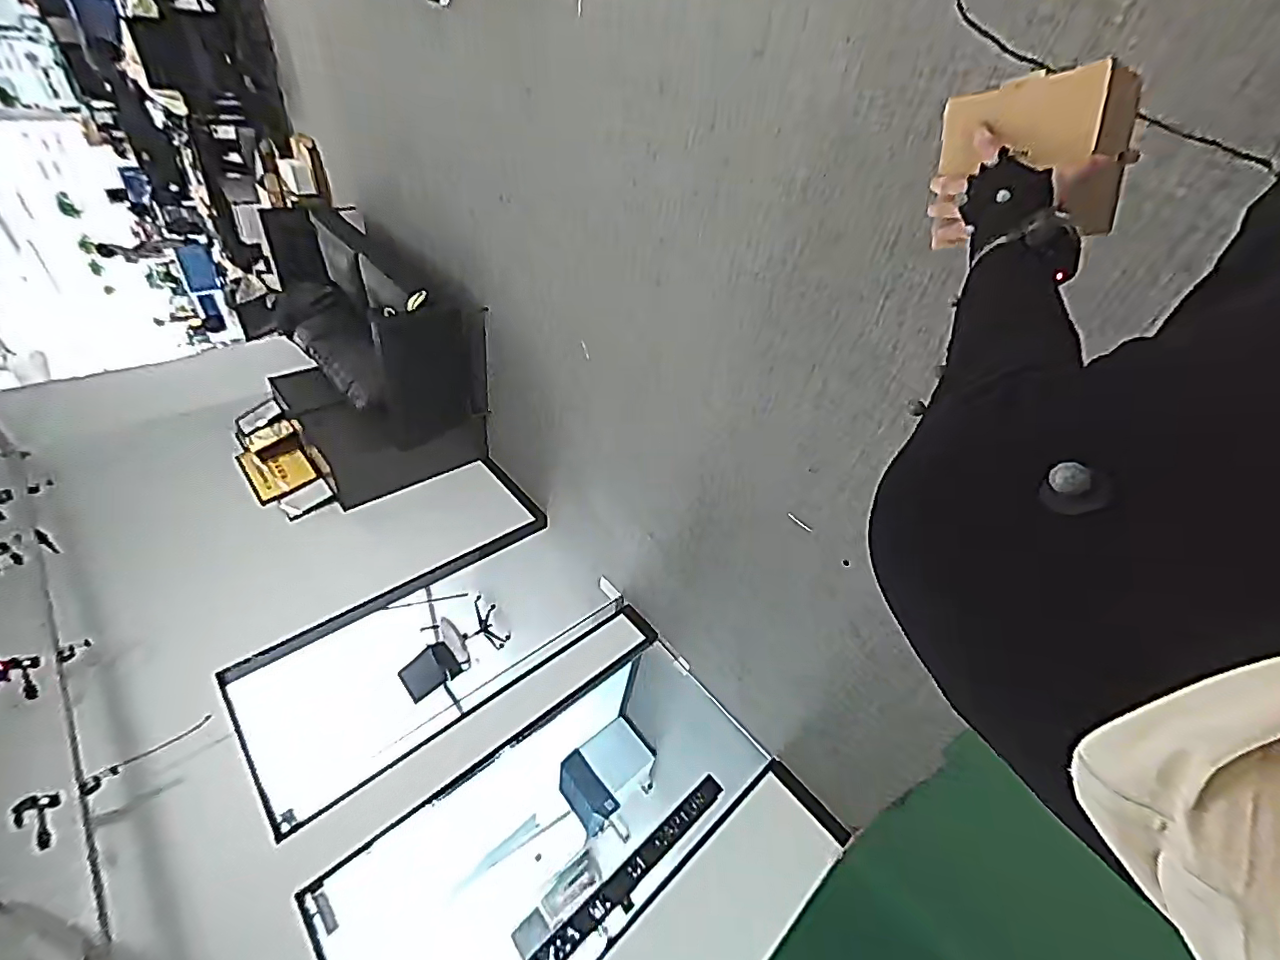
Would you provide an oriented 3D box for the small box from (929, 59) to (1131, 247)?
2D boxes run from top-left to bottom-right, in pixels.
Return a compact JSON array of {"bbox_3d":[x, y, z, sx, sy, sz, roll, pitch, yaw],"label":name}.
[{"bbox_3d":[0.506,-0.406,0.707,0.168,0.176,0.179,18,120,47],"label":"small box"}]
